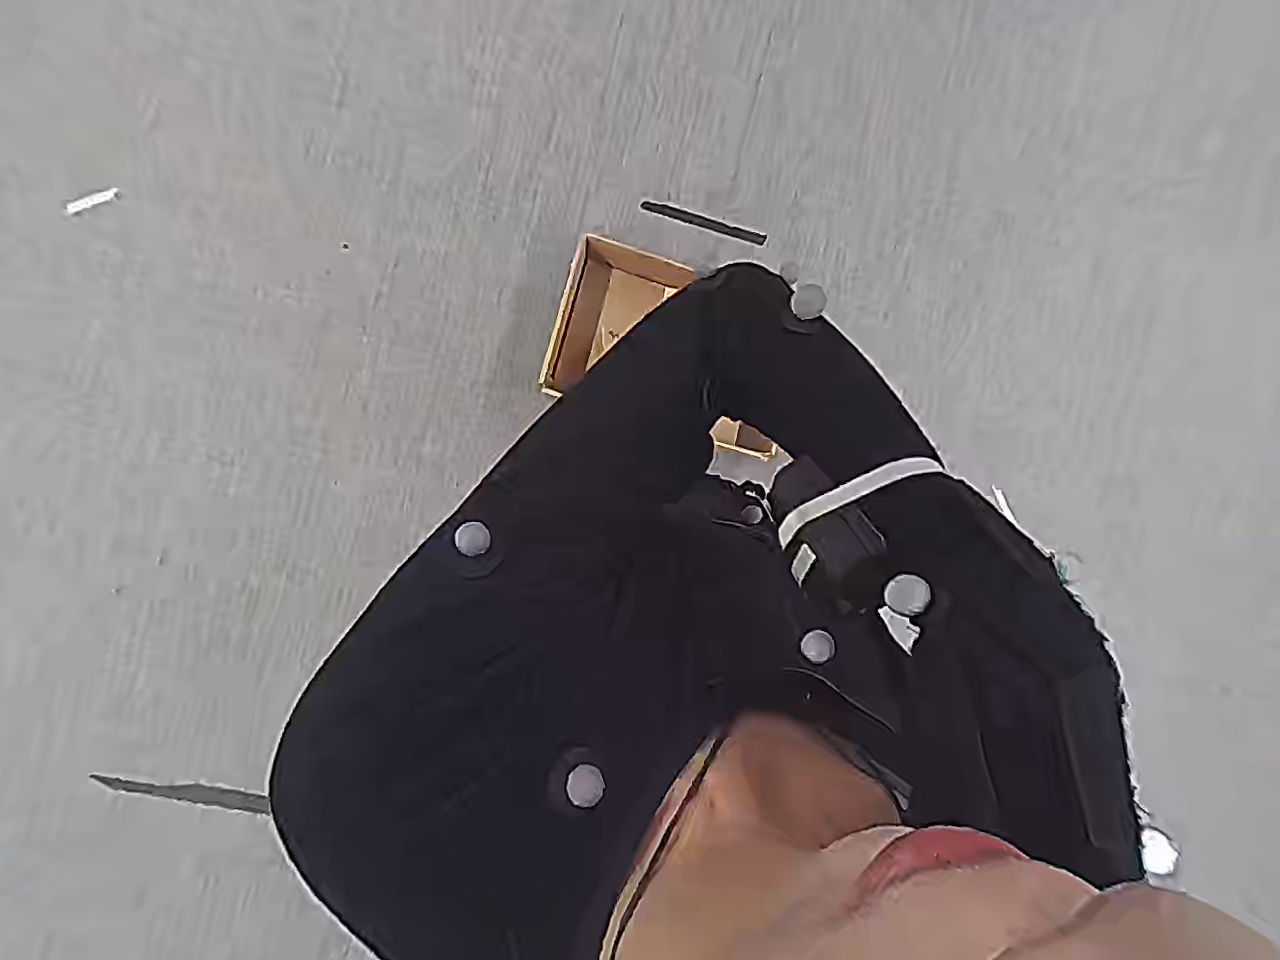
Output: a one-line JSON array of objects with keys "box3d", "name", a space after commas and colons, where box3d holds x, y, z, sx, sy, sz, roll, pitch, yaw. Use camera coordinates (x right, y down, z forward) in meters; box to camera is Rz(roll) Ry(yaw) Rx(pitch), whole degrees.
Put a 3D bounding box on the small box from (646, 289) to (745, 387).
[{"box3d": [0.119, -0.310, 1.219, 0.179, 0.176, 0.168, 8, 90, -7], "name": "small box"}]
